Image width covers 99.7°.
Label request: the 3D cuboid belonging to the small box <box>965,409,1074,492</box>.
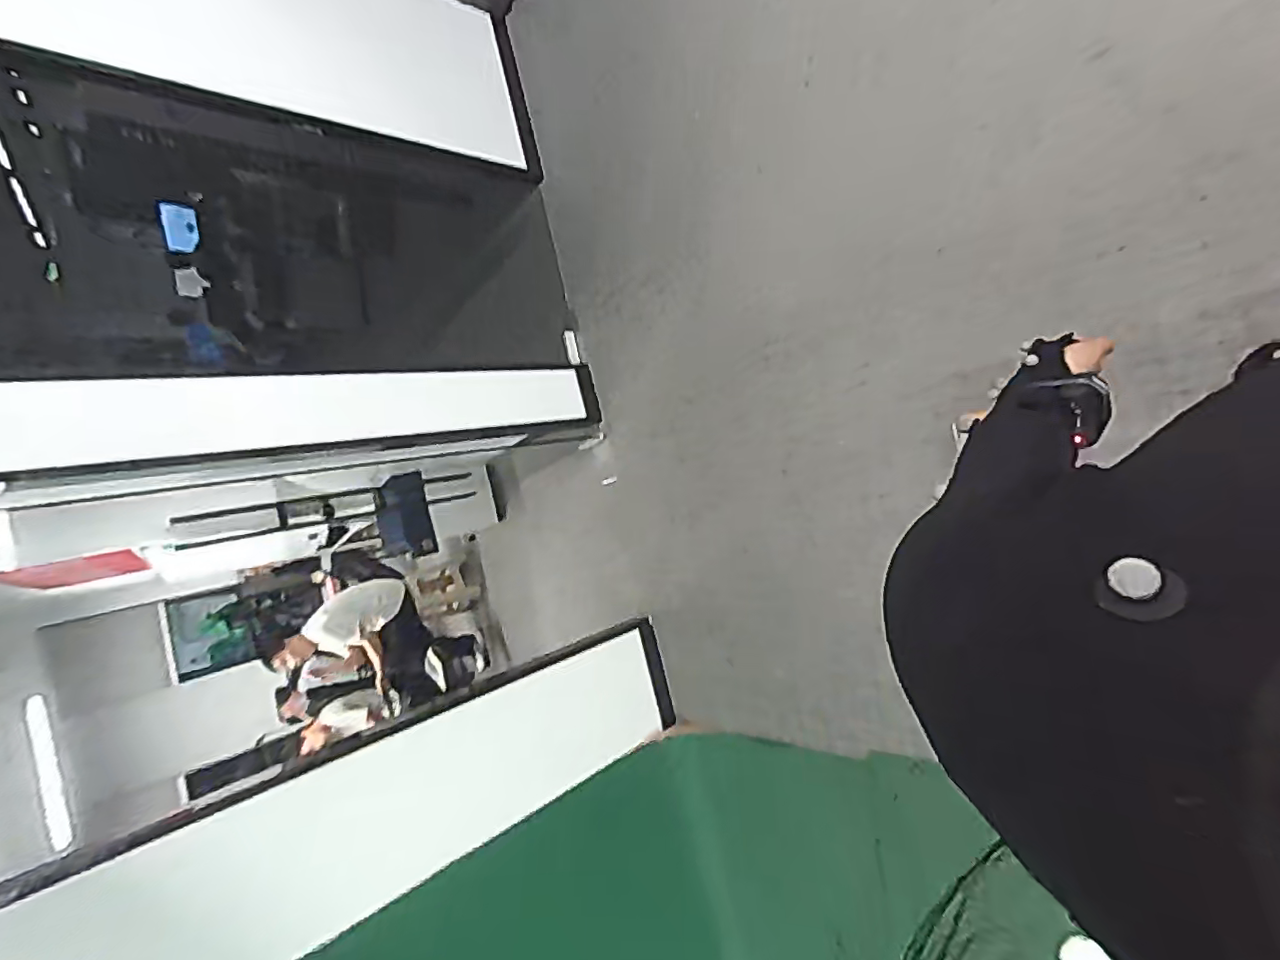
[{"bbox_3d":[0.860,-0.069,1.222,0.179,0.176,0.168,2,100,49],"label":"small box"}]
